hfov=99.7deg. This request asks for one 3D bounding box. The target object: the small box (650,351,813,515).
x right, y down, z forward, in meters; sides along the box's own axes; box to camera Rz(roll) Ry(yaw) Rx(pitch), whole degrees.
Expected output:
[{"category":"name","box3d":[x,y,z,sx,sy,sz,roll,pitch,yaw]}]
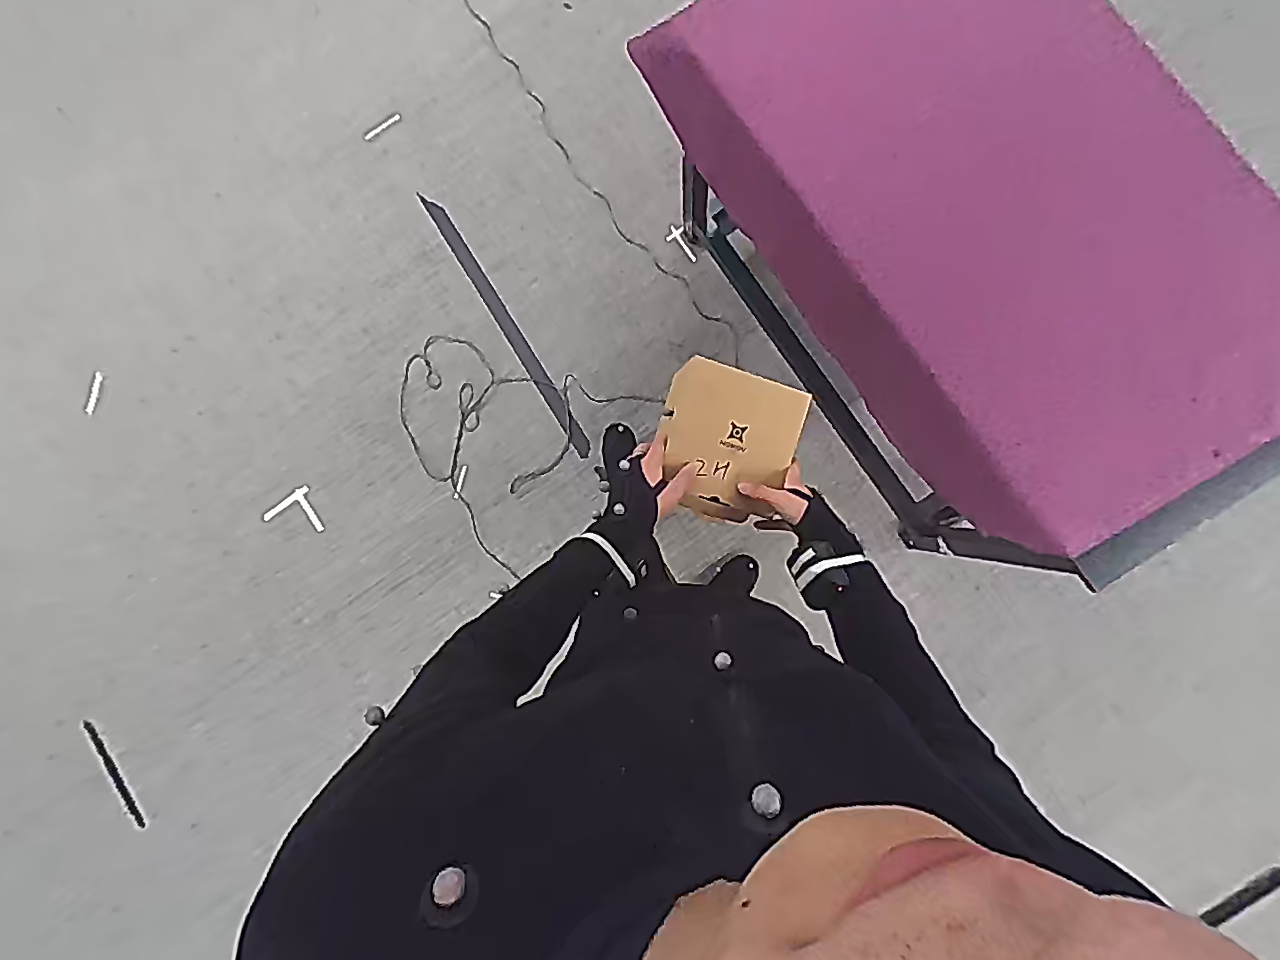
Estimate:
[{"category":"small box","box3d":[0.118,-0.063,0.779,0.168,0.176,0.179,17,91,-5]}]
